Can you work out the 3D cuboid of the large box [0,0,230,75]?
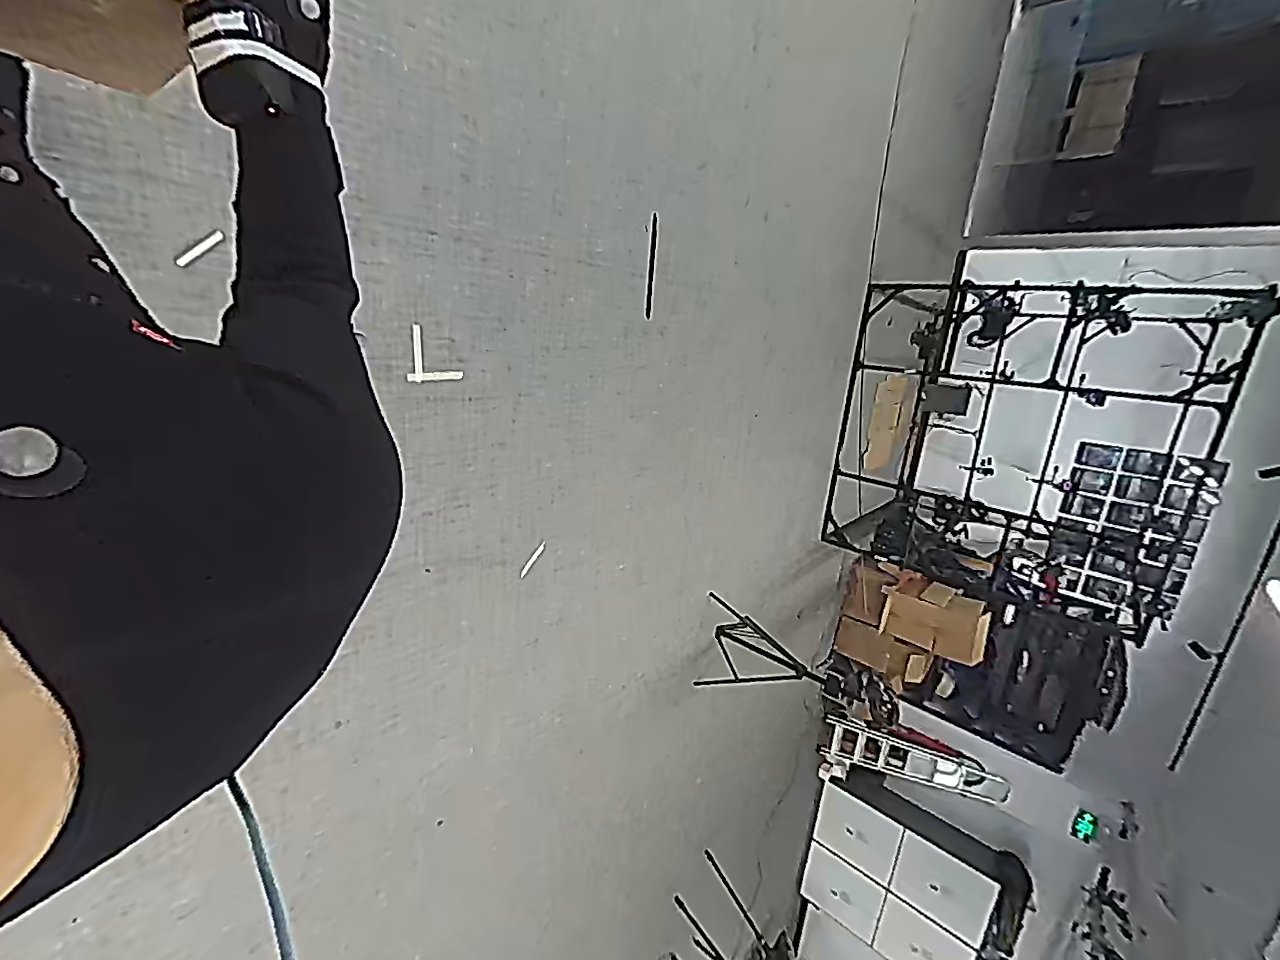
[{"bbox_3d":[-0.523,-0.505,0.296,0.408,0.320,0.320,-11,115,-50],"label":"large box"}]
